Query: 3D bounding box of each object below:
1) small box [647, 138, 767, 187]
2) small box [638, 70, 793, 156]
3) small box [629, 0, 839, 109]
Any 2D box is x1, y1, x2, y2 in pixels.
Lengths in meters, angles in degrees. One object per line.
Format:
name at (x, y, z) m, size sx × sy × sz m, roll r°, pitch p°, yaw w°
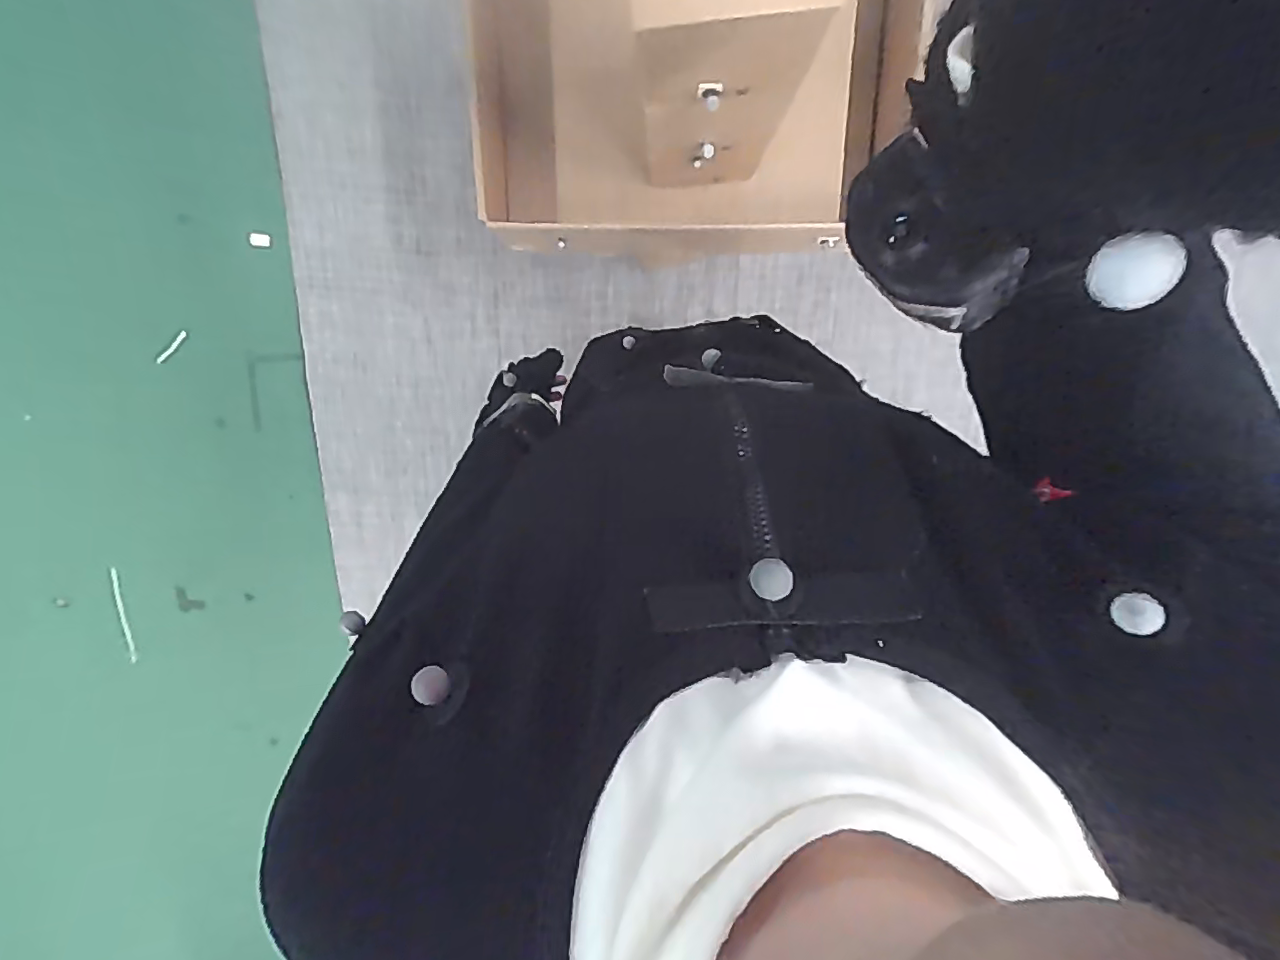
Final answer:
small box at (0.090, -0.554, 0.790) m, size 0.168 × 0.176 × 0.179 m, roll -3°, pitch 104°, yaw 5°
small box at (0.080, -0.508, 0.633) m, size 0.168 × 0.176 × 0.179 m, roll -3°, pitch 105°, yaw 4°
small box at (0.072, -0.466, 0.478) m, size 0.168 × 0.176 × 0.179 m, roll -3°, pitch 105°, yaw 5°
